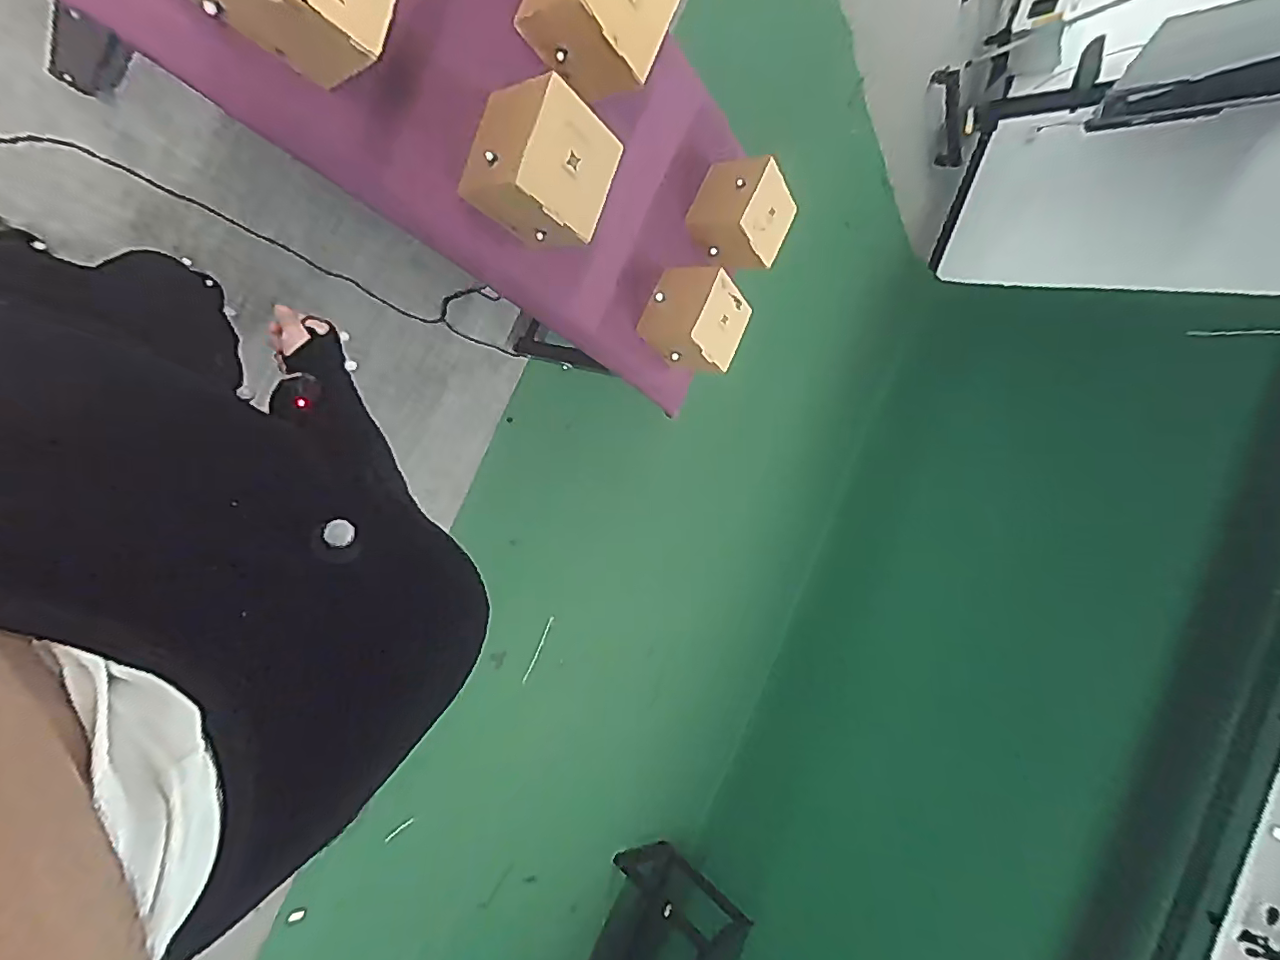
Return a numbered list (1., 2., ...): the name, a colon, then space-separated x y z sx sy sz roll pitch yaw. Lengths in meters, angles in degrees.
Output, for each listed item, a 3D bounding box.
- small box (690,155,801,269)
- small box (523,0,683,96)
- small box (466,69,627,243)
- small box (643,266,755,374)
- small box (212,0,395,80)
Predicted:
1. small box: 0.246 -0.624 1.272 0.168 0.176 0.179 32 83 -48
2. small box: -0.060 -0.772 0.877 0.168 0.176 0.179 24 90 -50
3. small box: -0.157 -0.510 0.883 0.168 0.176 0.179 20 90 -50
4. small box: 0.132 -0.372 1.255 0.168 0.176 0.179 33 81 -49
5. small box: -0.378 -0.595 0.601 0.168 0.176 0.179 15 93 -50
